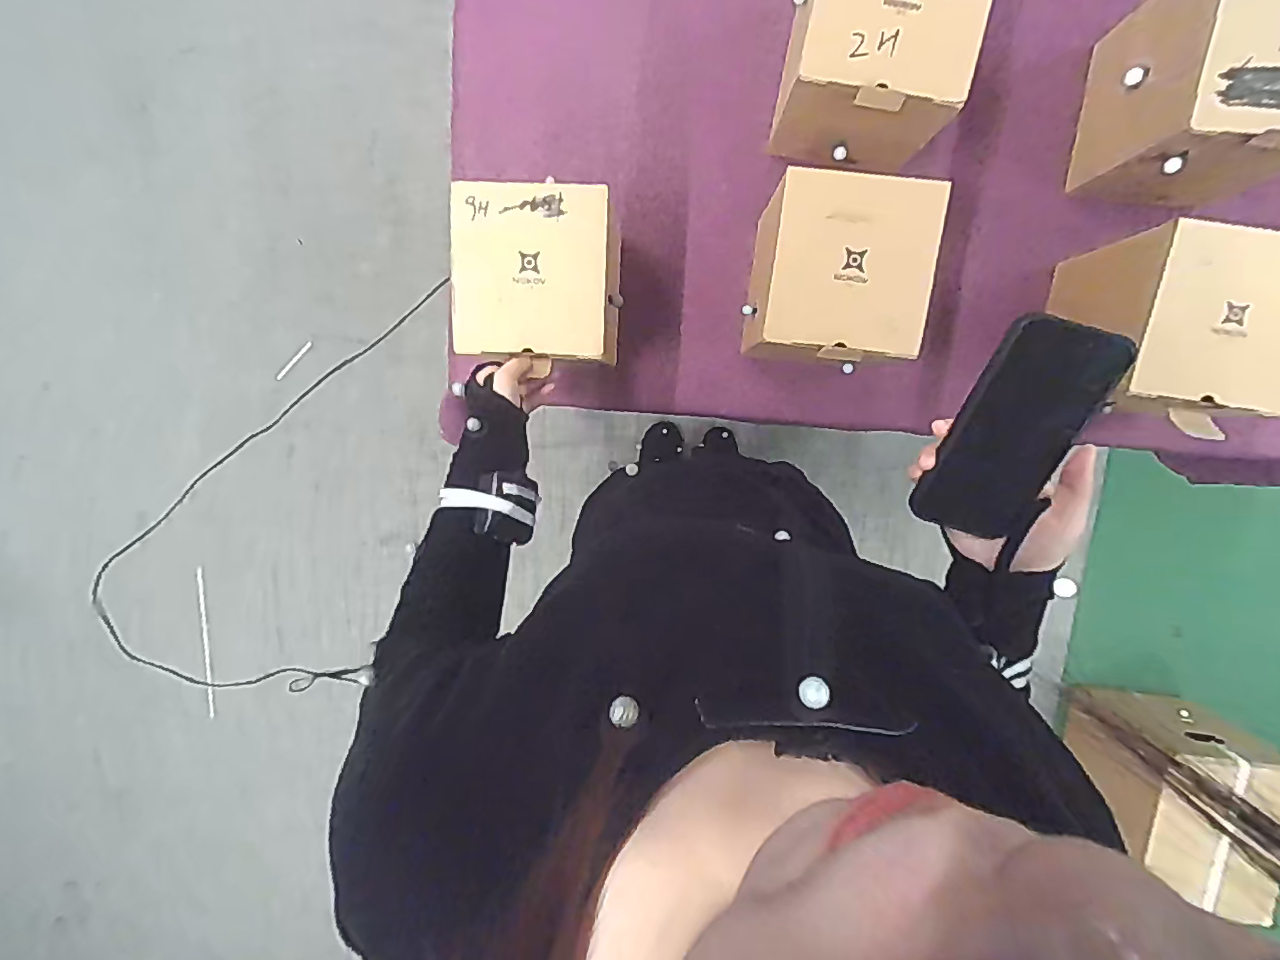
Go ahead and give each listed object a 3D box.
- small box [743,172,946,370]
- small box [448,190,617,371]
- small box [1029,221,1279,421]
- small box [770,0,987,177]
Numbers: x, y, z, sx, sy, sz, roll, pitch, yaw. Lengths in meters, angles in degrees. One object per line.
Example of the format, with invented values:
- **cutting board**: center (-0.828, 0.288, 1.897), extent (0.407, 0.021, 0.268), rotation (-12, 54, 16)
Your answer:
- **small box**: center (0.219, -0.227, 0.632), extent (0.168, 0.176, 0.179), rotation (7, 97, 2)
- **small box**: center (-0.117, -0.224, 0.648), extent (0.168, 0.176, 0.179), rotation (3, 99, 2)
- **small box**: center (0.594, -0.169, 0.619), extent (0.168, 0.176, 0.179), rotation (9, 99, 2)
- **small box**: center (0.250, -0.469, 0.594), extent (0.168, 0.176, 0.179), rotation (11, 99, 2)
